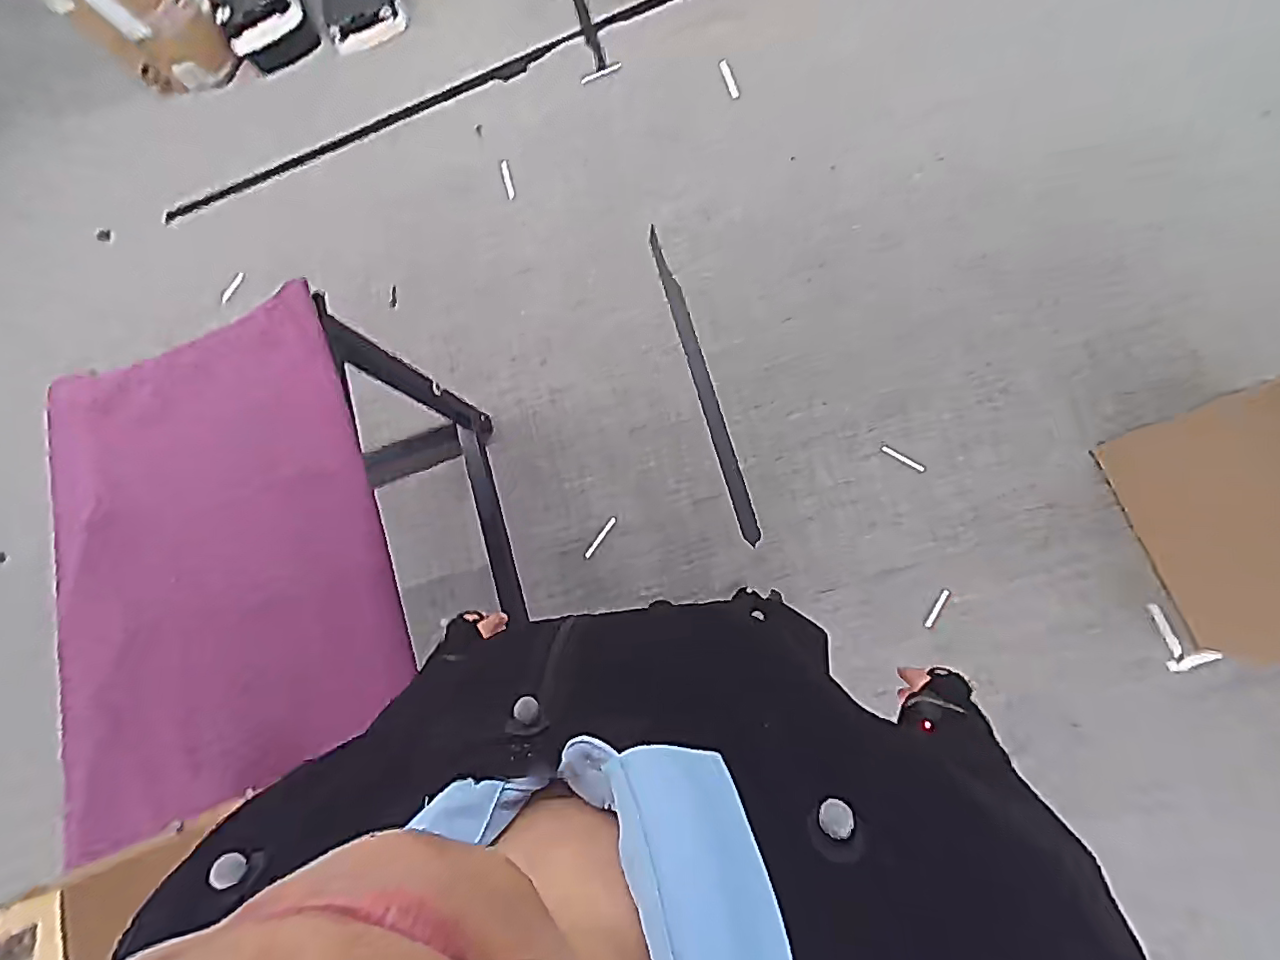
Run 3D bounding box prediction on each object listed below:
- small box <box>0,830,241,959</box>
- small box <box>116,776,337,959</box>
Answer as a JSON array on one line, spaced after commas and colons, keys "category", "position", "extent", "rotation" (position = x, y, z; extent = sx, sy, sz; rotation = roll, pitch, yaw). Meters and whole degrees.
[{"category": "small box", "position": [-0.569, 0.503, 0.569], "extent": [0.168, 0.176, 0.179], "rotation": [-22, 76, 6]}, {"category": "small box", "position": [-0.544, 0.538, 0.728], "extent": [0.168, 0.176, 0.179], "rotation": [-22, 76, 5]}]
